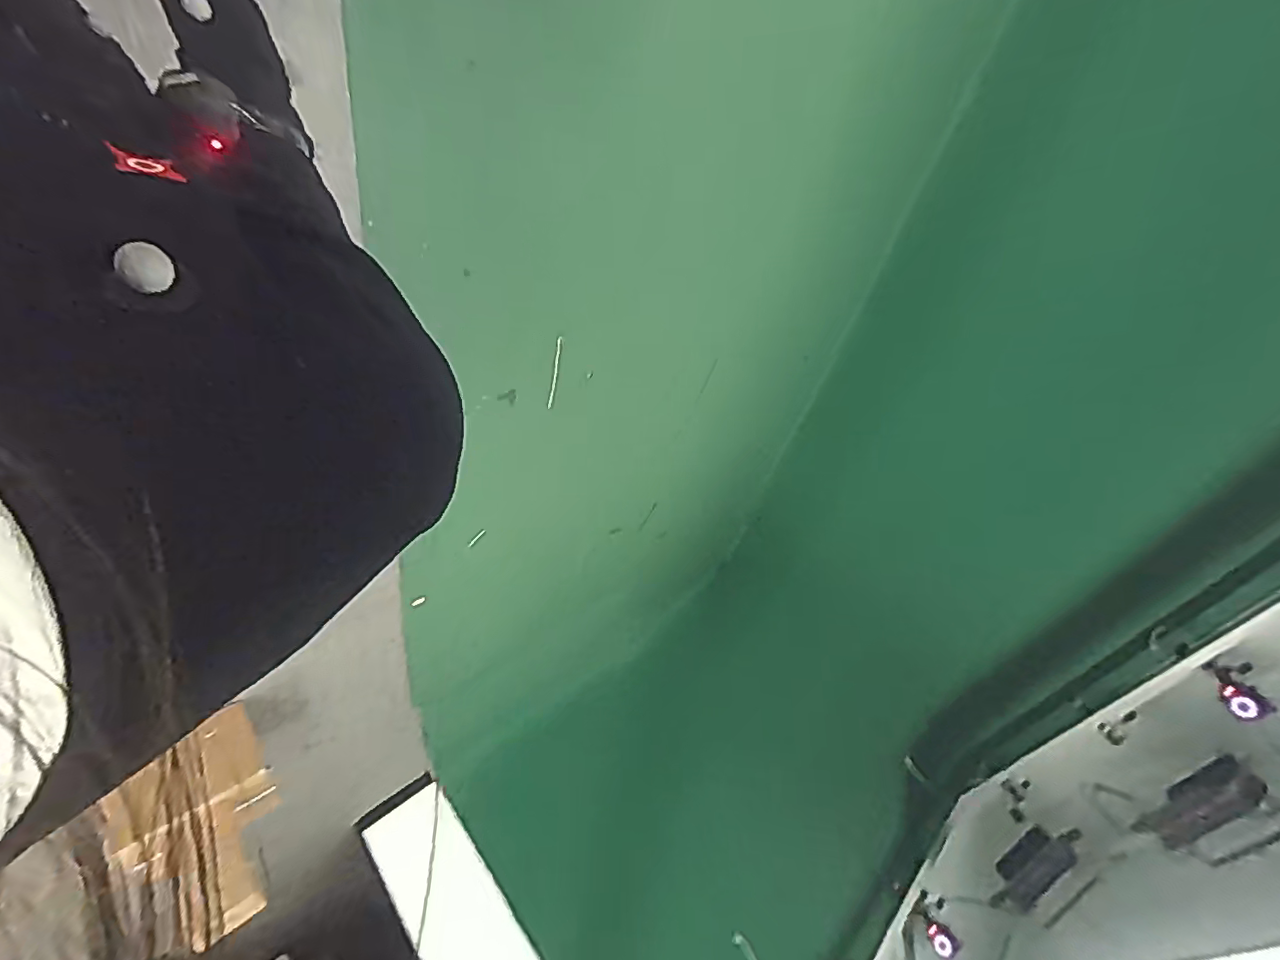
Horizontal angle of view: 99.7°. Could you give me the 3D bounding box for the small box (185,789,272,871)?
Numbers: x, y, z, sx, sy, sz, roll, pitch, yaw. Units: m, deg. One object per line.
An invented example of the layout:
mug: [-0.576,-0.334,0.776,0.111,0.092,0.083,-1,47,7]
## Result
small box: [-1.366,1.174,1.797,0.179,0.176,0.168,-23,142,-36]

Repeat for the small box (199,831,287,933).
small box: [-1.261,1.268,1.713,0.179,0.176,0.168,-25,144,-38]
